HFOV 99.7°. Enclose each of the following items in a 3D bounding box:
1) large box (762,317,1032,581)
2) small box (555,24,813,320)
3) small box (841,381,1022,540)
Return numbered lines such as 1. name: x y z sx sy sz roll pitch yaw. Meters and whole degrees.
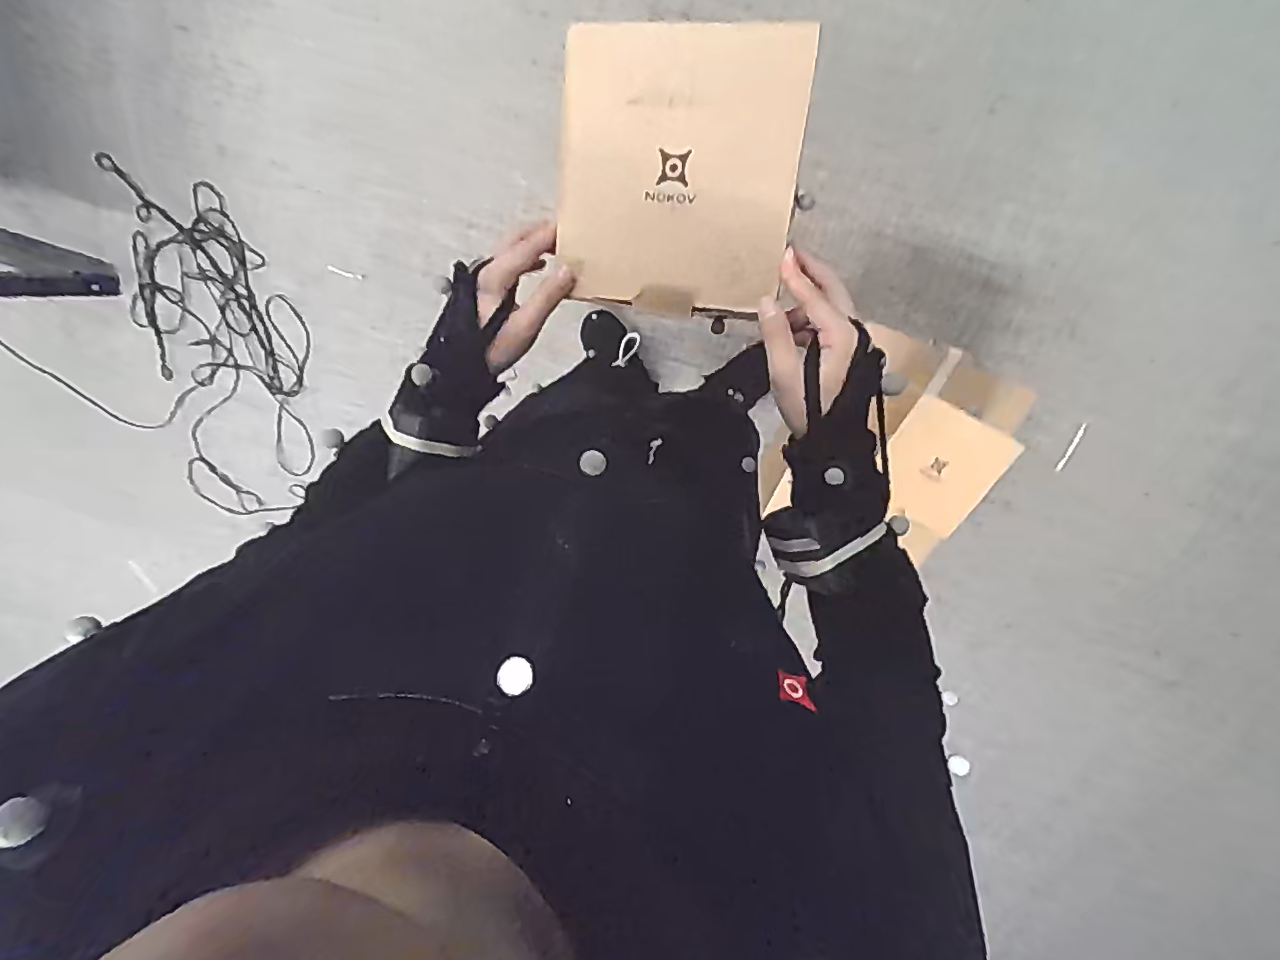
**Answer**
1. large box: 0.477 -0.083 1.114 0.320 0.320 0.408 24 113 3
2. small box: 0.039 -0.228 0.445 0.168 0.176 0.179 8 106 10
3. small box: 0.449 -0.041 0.872 0.168 0.176 0.179 29 112 0
